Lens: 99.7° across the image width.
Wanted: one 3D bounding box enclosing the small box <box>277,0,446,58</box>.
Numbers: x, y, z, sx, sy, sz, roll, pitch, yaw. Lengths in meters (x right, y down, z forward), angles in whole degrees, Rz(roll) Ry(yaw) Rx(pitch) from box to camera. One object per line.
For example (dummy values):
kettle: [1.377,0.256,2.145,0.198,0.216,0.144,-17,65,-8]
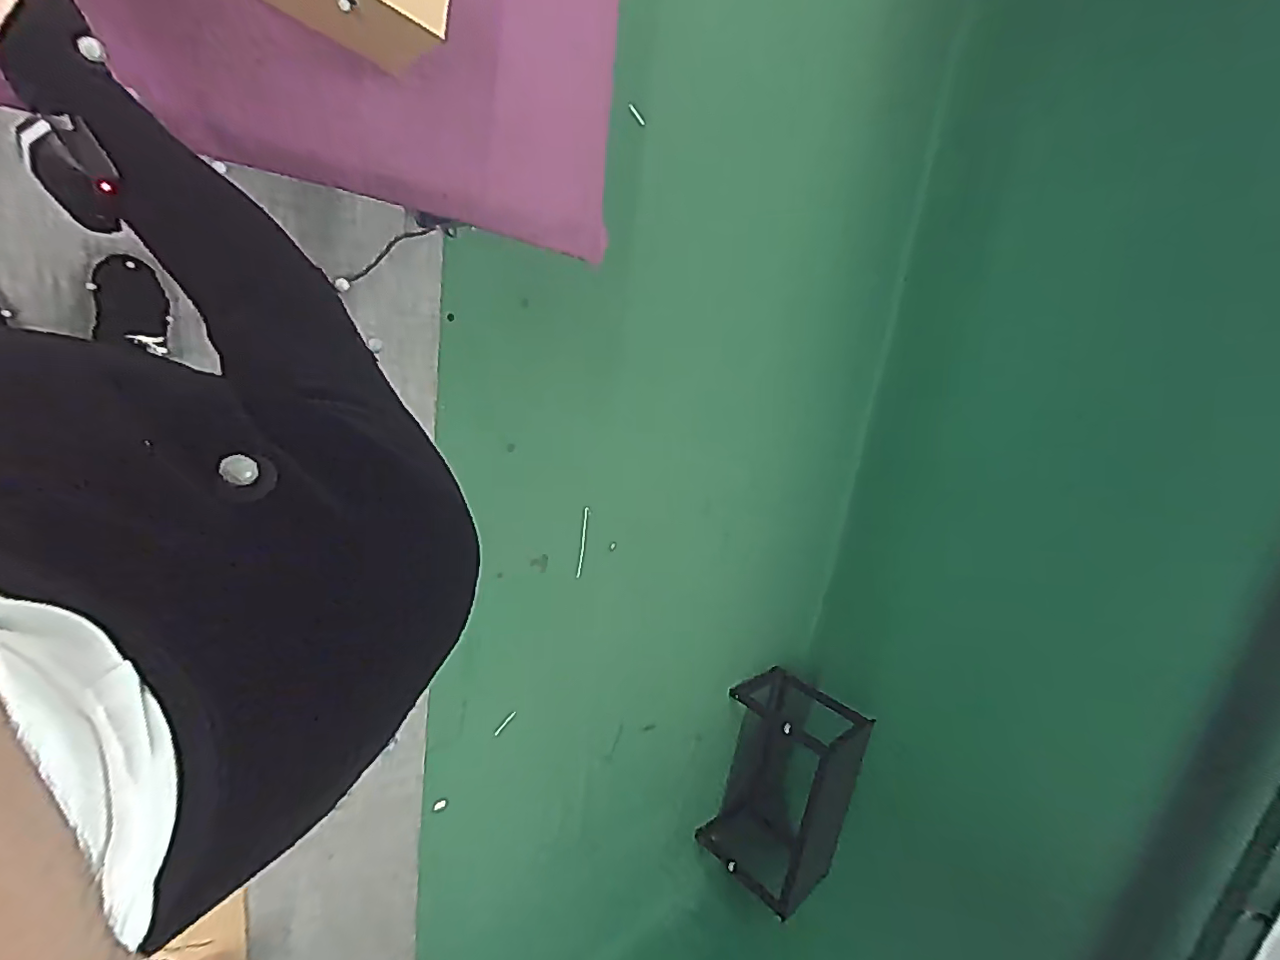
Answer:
small box: [-0.341,-0.646,0.639,0.179,0.176,0.168,1,105,-47]
